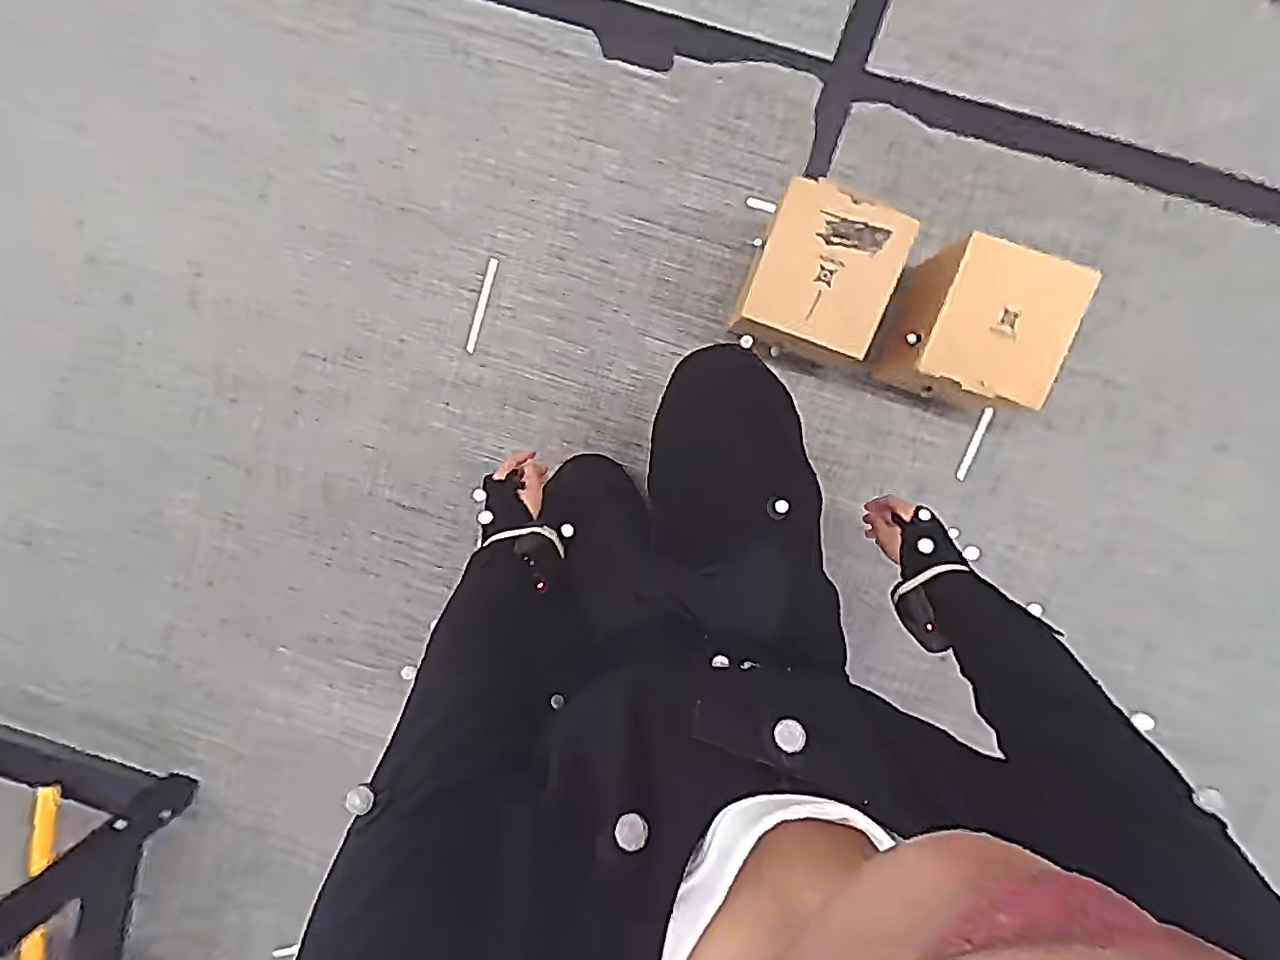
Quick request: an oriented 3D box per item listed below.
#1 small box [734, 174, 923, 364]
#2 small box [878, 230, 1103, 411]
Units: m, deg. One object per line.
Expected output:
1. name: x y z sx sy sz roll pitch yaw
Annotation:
1. small box: 0.237 -0.269 0.734 0.168 0.176 0.179 21 100 0
2. small box: 0.454 -0.204 0.735 0.168 0.176 0.179 19 100 0
